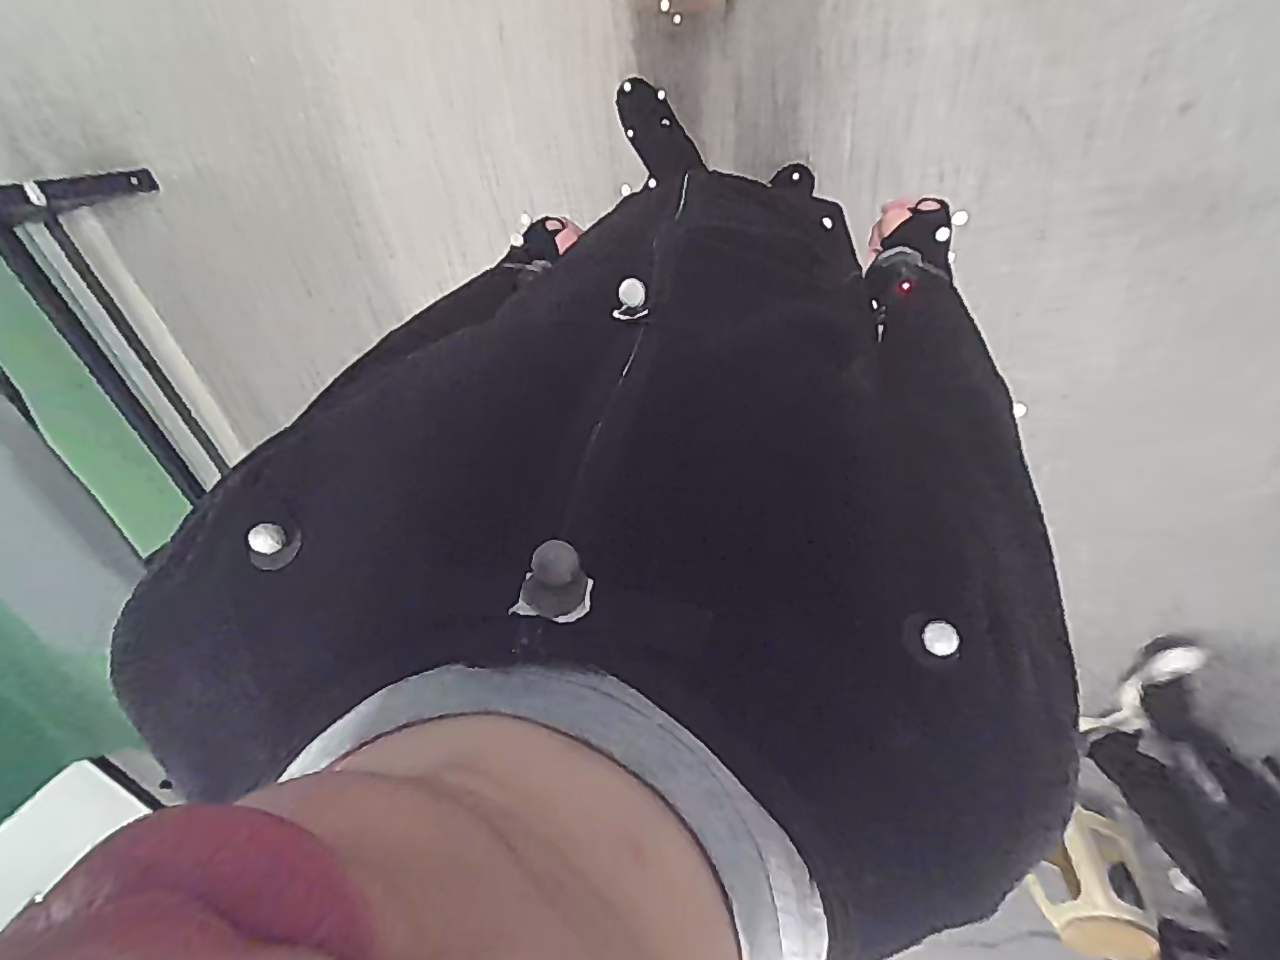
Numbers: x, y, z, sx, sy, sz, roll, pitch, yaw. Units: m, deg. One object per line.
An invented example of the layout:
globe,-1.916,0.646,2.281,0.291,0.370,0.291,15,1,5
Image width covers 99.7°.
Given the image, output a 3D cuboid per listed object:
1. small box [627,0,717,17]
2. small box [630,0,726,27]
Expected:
small box,0.049,-0.896,0.892,0.168,0.176,0.179,10,126,9
small box,0.082,-0.986,1.026,0.168,0.176,0.179,9,126,9
